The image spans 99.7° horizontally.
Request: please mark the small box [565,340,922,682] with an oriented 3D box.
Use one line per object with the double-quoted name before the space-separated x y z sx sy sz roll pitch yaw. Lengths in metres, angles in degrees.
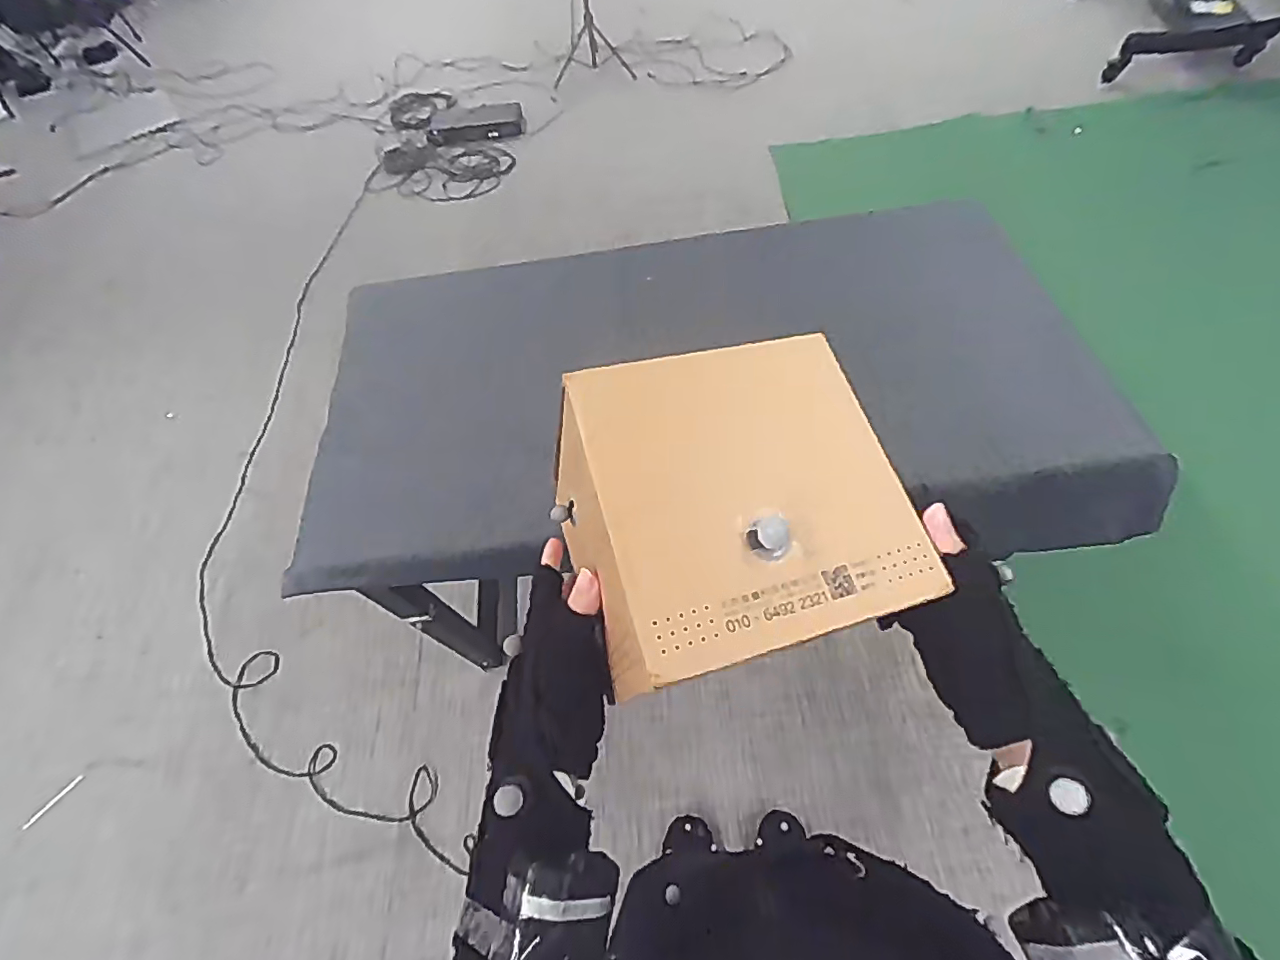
"small box" 0.047 0.033 0.375 0.168 0.179 0.176 -13 70 -15
